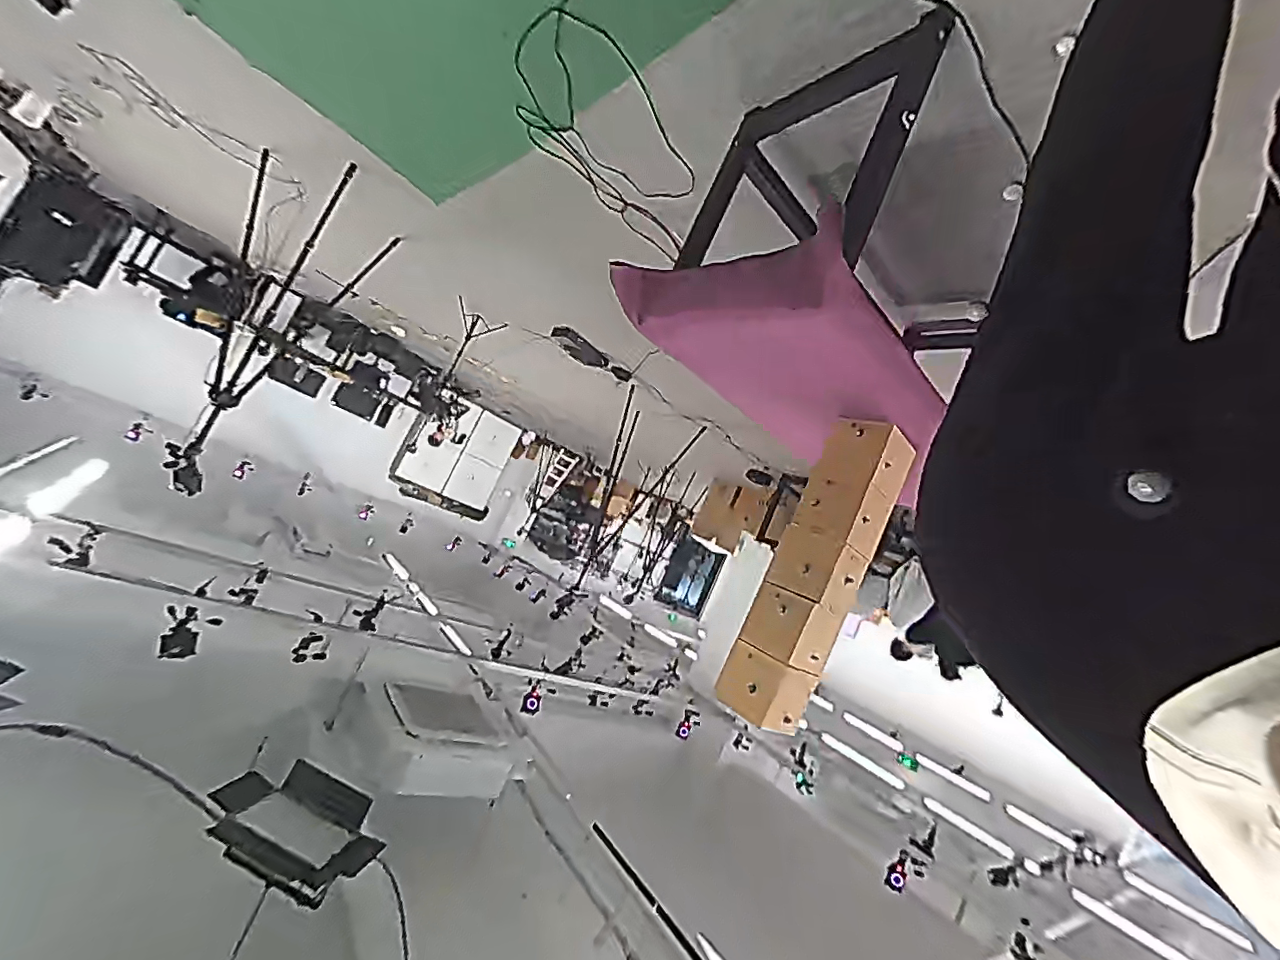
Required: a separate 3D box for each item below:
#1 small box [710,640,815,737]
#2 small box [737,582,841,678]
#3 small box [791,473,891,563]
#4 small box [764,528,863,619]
[{"bbox_3d":[0.317,0.530,1.390,0.179,0.176,0.168,31,172,-40],"label":"small box"},{"bbox_3d":[0.393,0.388,1.410,0.179,0.176,0.168,32,171,-39],"label":"small box"},{"bbox_3d":[0.539,0.097,1.442,0.179,0.176,0.168,31,171,-41],"label":"small box"},{"bbox_3d":[0.465,0.241,1.428,0.168,0.176,0.179,32,170,-41],"label":"small box"}]
